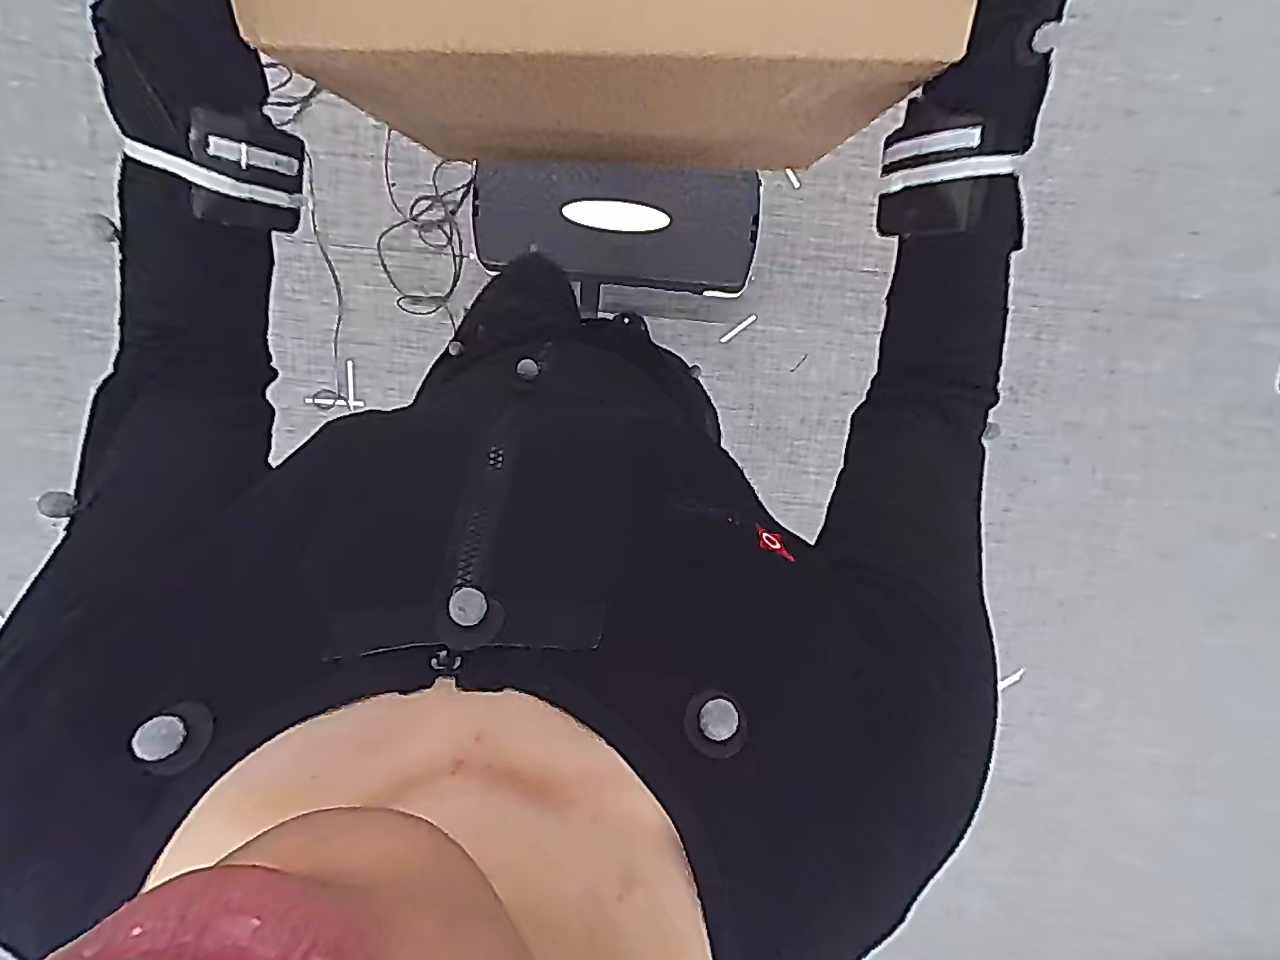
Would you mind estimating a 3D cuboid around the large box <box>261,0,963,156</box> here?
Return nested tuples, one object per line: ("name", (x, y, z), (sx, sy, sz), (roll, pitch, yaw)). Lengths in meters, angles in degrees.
("large box", (-0.016, -0.449, 0.397), (0.408, 0.320, 0.320), (1, 110, 0))
